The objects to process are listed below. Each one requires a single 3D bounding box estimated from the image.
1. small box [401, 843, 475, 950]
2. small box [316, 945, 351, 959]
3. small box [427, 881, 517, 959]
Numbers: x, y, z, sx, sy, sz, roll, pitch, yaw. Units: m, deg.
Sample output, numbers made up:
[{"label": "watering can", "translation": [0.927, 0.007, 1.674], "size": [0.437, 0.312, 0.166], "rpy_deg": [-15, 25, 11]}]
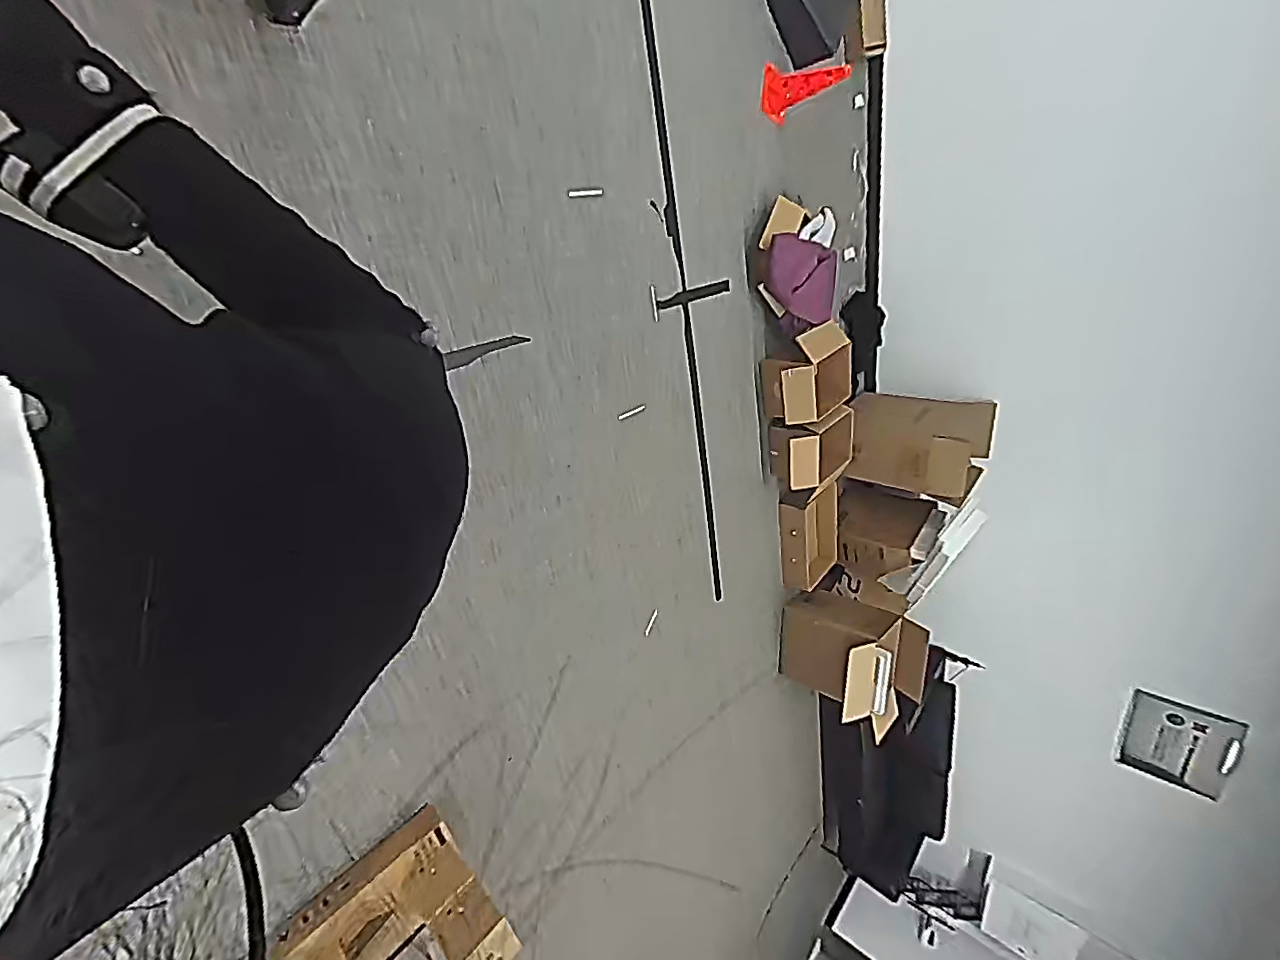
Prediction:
[{"label": "small box", "translation": [-0.618, 1.298, 1.697], "size": [0.168, 0.176, 0.179], "rpy_deg": [-31, 123, -38]}, {"label": "small box", "translation": [-0.855, 1.439, 1.482], "size": [0.168, 0.176, 0.179], "rpy_deg": [-34, 123, -39]}, {"label": "small box", "translation": [-0.496, 1.343, 1.596], "size": [0.168, 0.176, 0.179], "rpy_deg": [-33, 123, -37]}]
